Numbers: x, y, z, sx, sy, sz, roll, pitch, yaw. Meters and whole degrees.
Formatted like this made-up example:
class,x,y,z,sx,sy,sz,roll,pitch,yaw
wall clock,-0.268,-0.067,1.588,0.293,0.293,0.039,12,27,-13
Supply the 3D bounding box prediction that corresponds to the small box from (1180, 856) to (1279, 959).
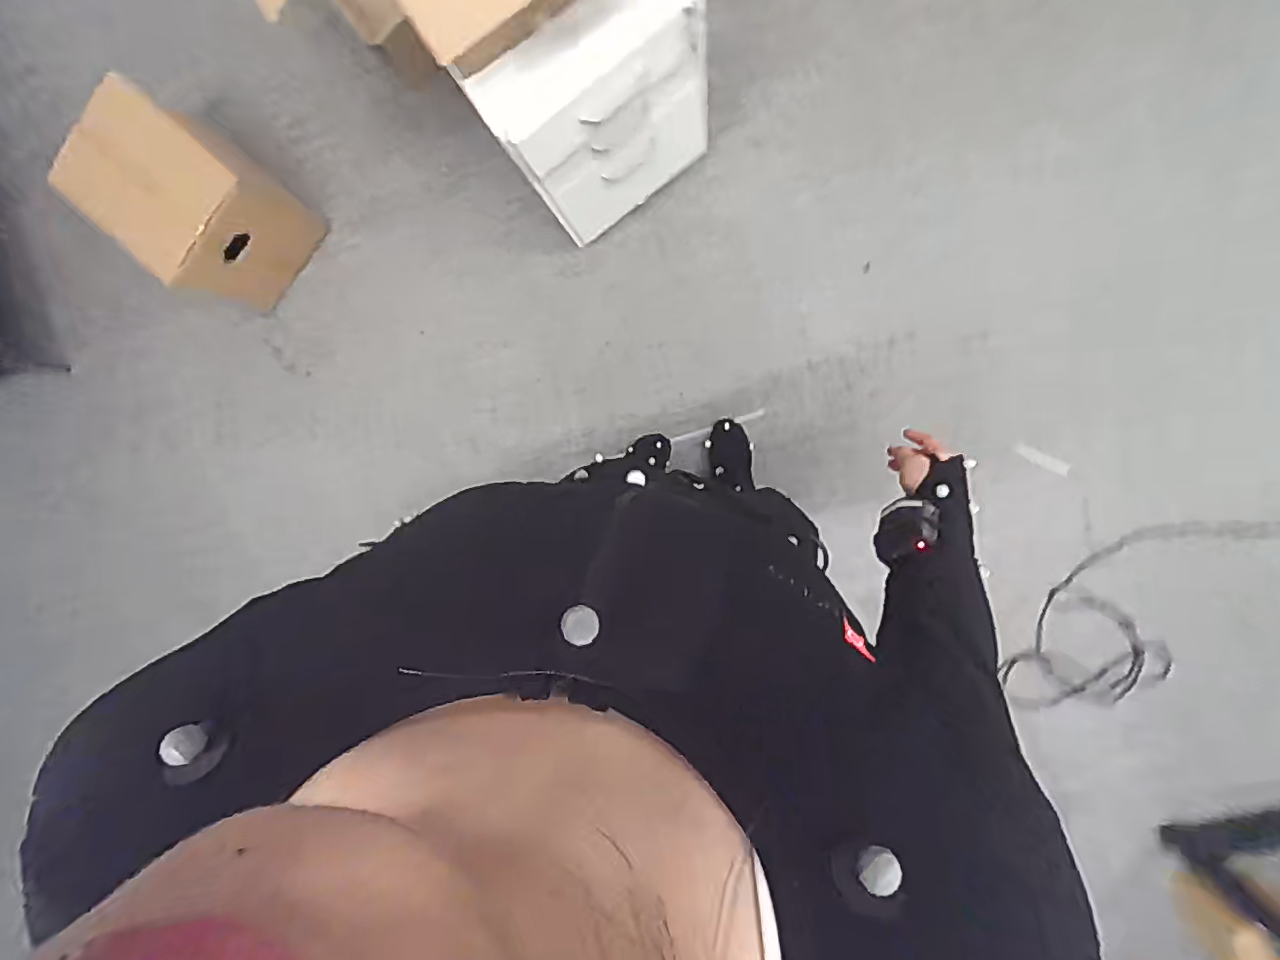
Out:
class,x,y,z,sx,sy,sz,roll,pitch,yaw
small box,1.483,1.064,1.322,0.179,0.176,0.168,-13,93,8
